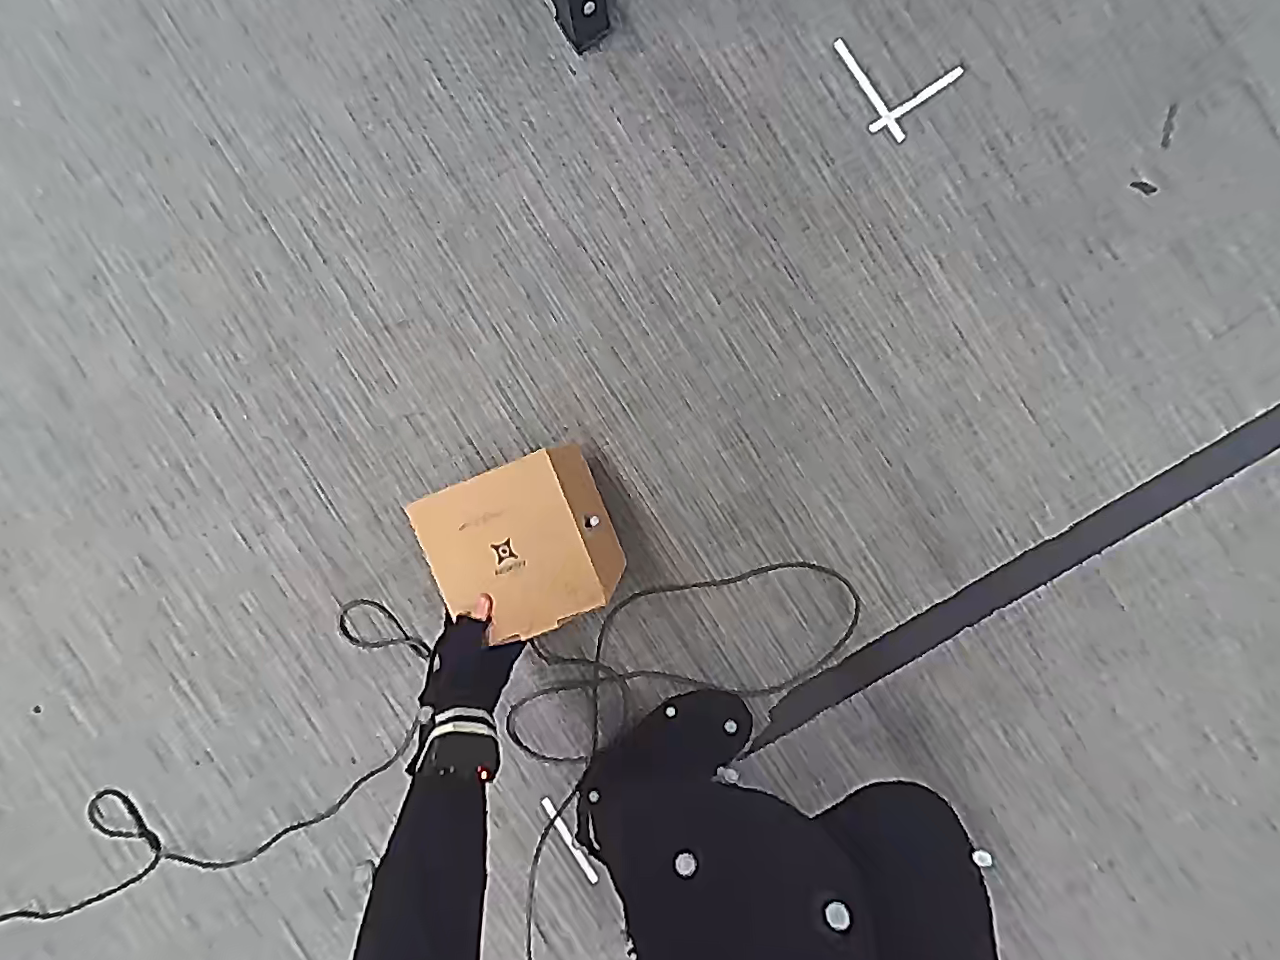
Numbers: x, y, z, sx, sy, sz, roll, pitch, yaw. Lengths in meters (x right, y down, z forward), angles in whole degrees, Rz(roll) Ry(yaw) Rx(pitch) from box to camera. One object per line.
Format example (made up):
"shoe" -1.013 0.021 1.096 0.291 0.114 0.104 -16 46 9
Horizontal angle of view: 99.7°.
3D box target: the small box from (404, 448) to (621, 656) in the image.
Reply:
"small box" -0.133 0.072 0.640 0.168 0.176 0.179 -22 94 7
